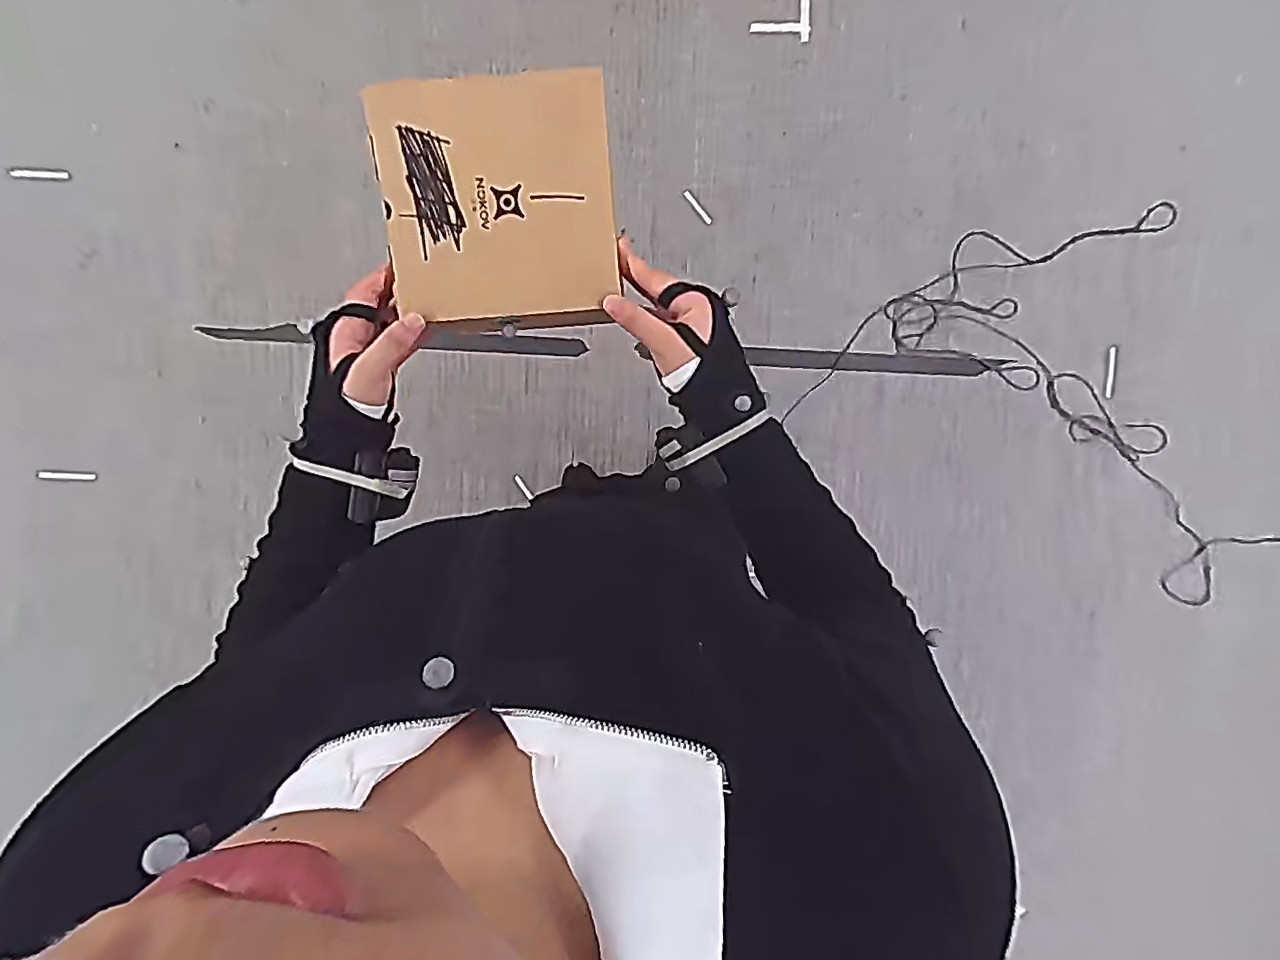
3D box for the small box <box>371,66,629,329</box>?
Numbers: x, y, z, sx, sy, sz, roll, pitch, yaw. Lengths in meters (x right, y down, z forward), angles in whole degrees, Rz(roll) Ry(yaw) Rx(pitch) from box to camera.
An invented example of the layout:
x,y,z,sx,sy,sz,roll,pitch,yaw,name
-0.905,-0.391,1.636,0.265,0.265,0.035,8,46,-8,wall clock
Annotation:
x,y,z,sx,sy,sz,roll,pitch,yaw,name
-0.103,-0.228,0.482,0.179,0.176,0.168,-4,103,0,small box
